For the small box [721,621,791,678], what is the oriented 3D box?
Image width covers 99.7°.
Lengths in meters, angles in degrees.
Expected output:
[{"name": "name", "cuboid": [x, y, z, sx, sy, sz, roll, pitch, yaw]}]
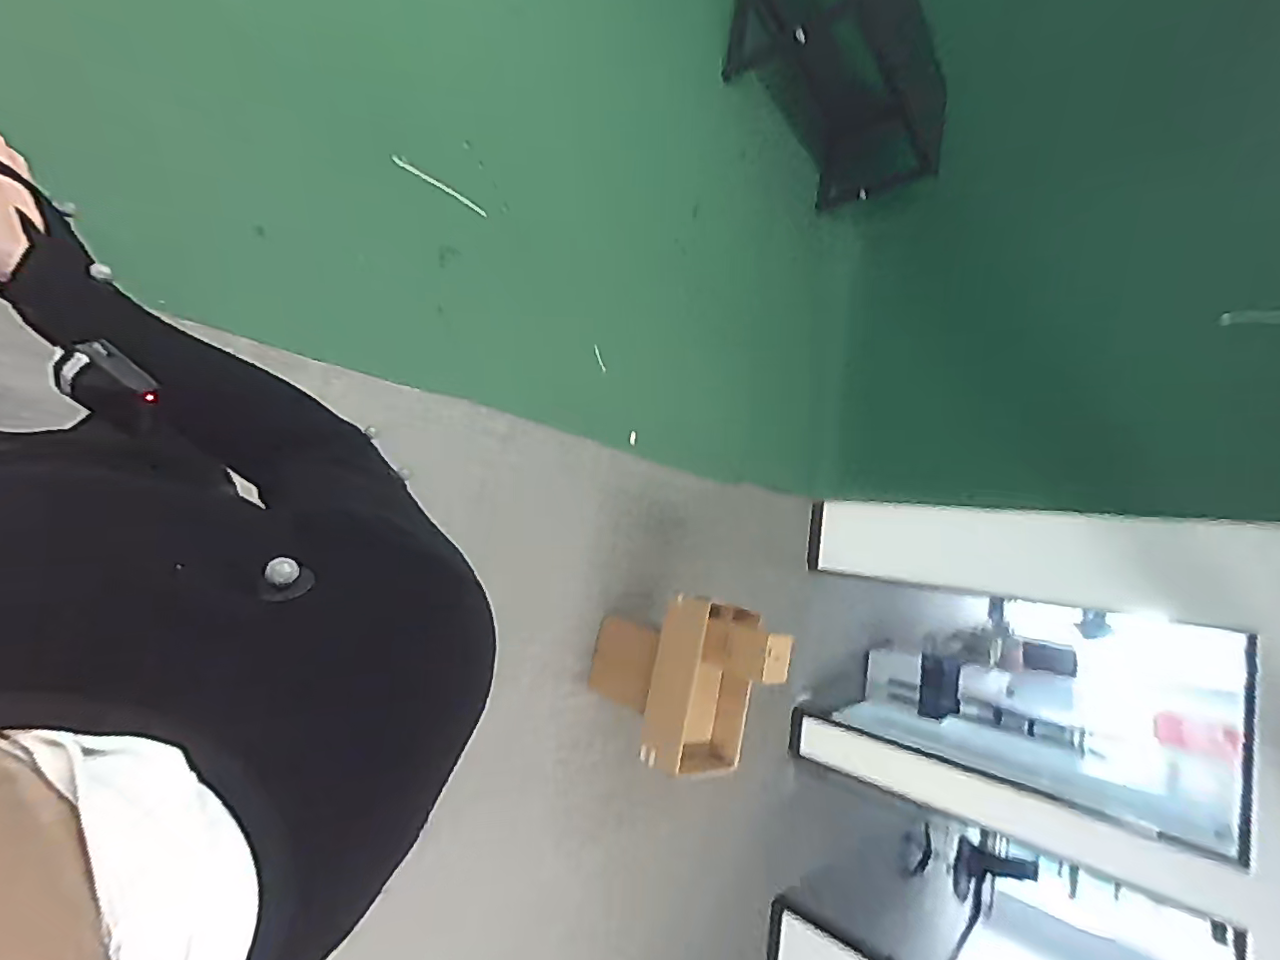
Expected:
[{"name": "small box", "cuboid": [0.421, 0.611, 1.956, 0.179, 0.176, 0.168, 20, 77, -45]}]

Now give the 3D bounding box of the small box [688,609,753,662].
[{"name": "small box", "cuboid": [0.306, 0.600, 2.073, 0.179, 0.176, 0.168, 23, 76, -45]}]
